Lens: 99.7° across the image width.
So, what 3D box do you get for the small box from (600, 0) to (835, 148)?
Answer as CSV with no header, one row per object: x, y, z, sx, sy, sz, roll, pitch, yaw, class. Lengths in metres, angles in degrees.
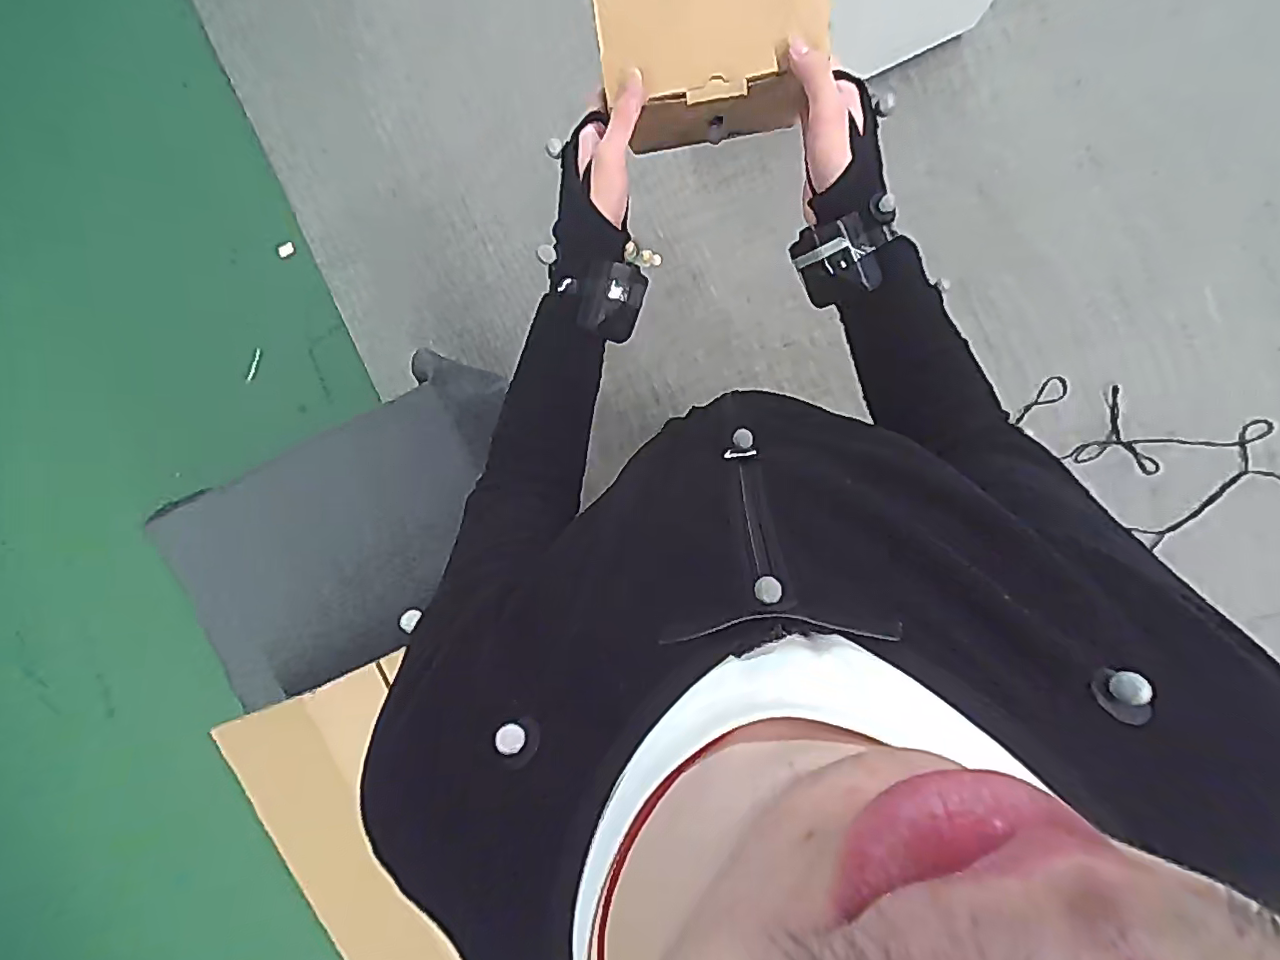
0.060,-0.399,0.451,0.168,0.176,0.179,-7,109,11,small box
